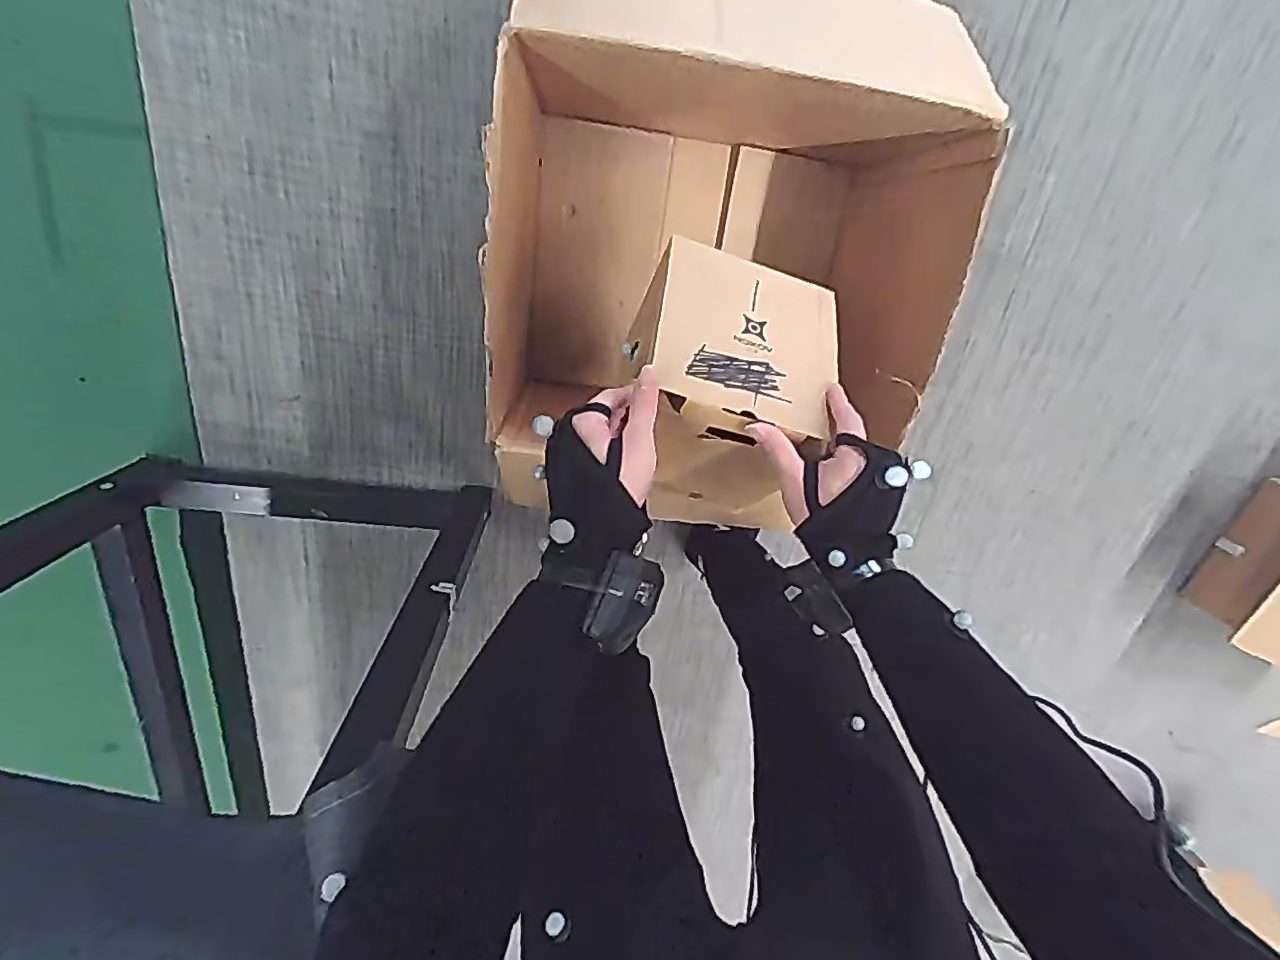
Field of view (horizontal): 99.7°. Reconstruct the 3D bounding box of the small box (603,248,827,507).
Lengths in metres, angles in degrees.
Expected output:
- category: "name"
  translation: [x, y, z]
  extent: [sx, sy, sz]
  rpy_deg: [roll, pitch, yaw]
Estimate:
- category: "small box"
  translation: [0.067, -0.088, 0.549]
  extent: [0.168, 0.176, 0.179]
  rpy_deg: [16, 66, -11]
